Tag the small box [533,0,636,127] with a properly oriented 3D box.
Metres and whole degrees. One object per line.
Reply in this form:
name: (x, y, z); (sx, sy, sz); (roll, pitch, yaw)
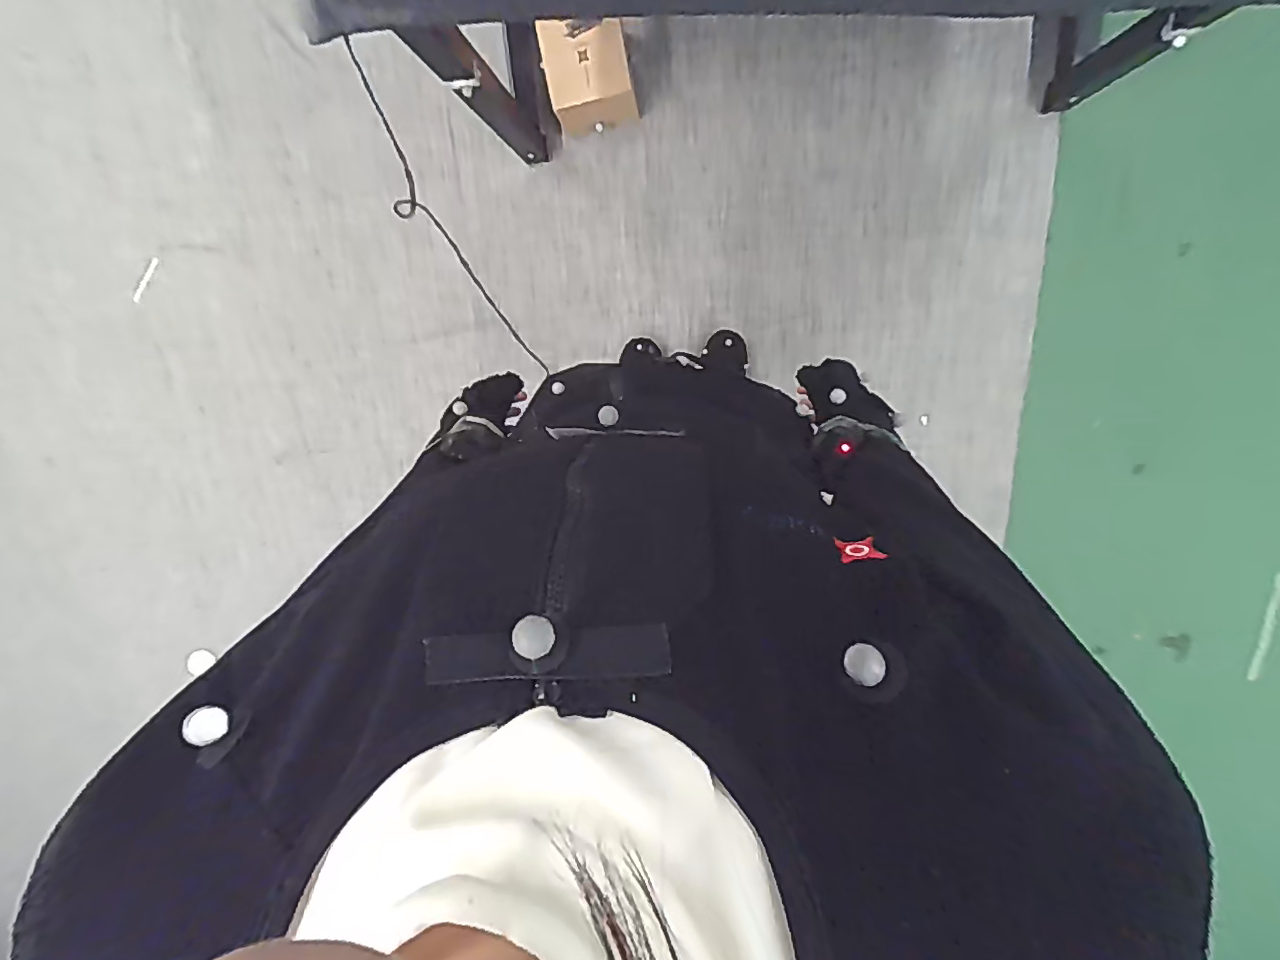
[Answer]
small box: (-0.108, -0.876, 1.127); (0.168, 0.176, 0.179); (-9, 106, 8)
